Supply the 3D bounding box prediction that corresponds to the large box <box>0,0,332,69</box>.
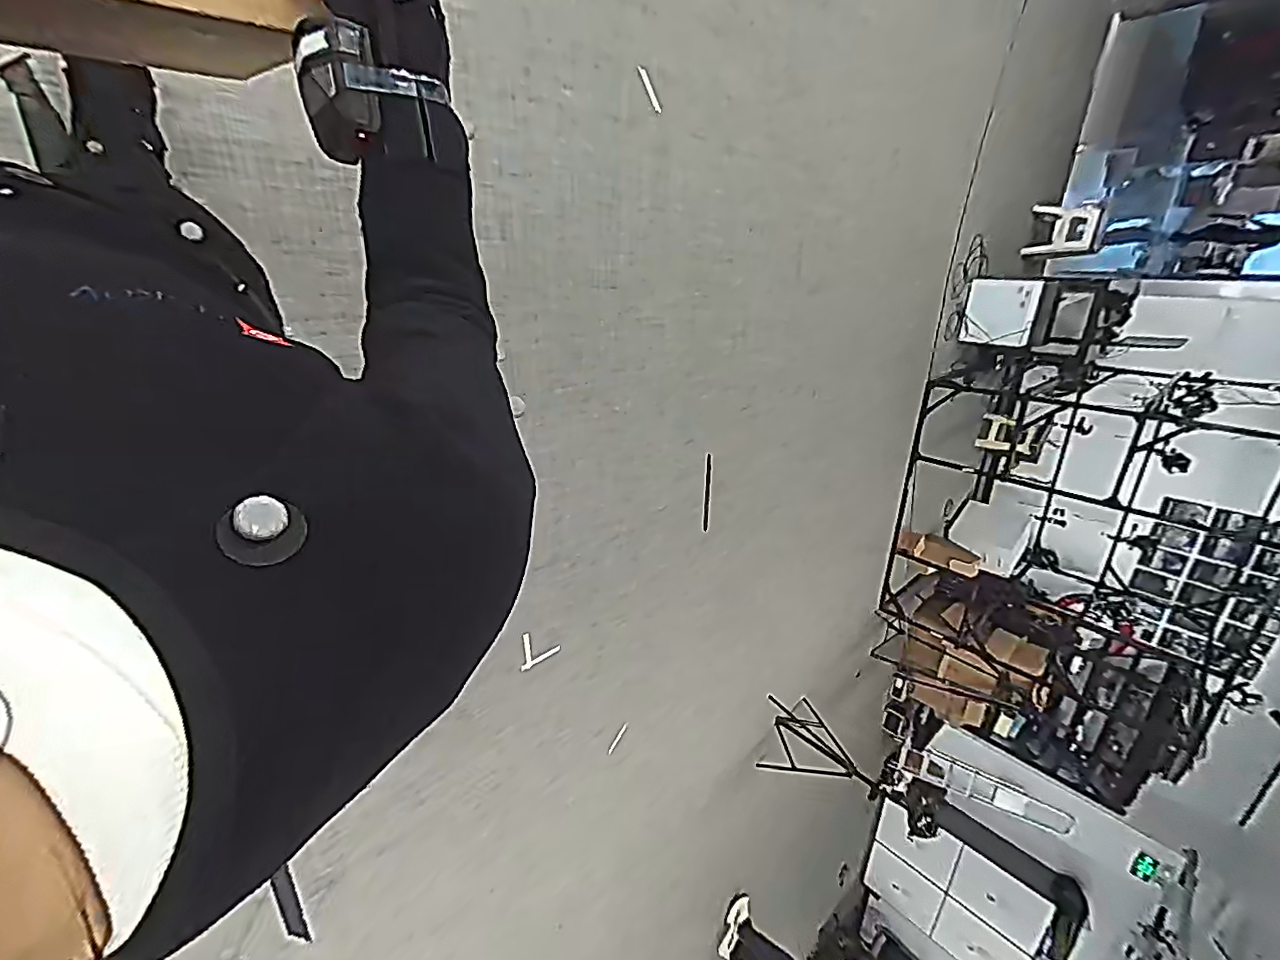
[{"bbox_3d":[-0.438,-0.427,0.254,0.408,0.320,0.320,-21,128,-38],"label":"large box"}]
